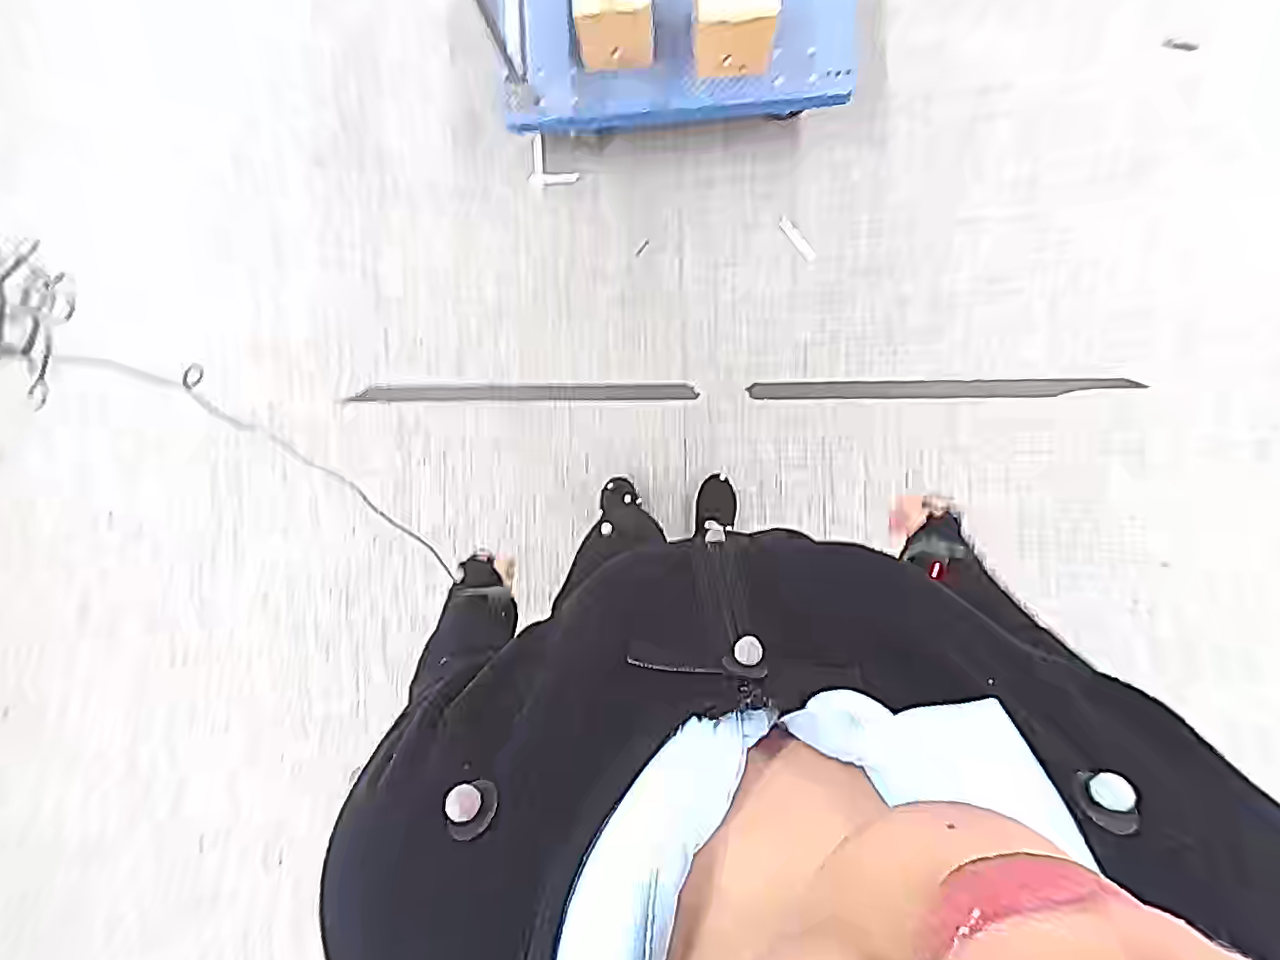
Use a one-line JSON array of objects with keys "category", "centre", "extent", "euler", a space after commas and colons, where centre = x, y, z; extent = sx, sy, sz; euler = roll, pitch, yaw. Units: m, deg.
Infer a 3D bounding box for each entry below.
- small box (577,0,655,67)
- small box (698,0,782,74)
[{"category": "small box", "centre": [-0.052, -1.096, 1.233], "extent": [0.168, 0.176, 0.179], "euler": [-3, 91, 4]}, {"category": "small box", "centre": [0.220, -1.067, 1.220], "extent": [0.168, 0.176, 0.179], "euler": [-2, 91, 3]}]
